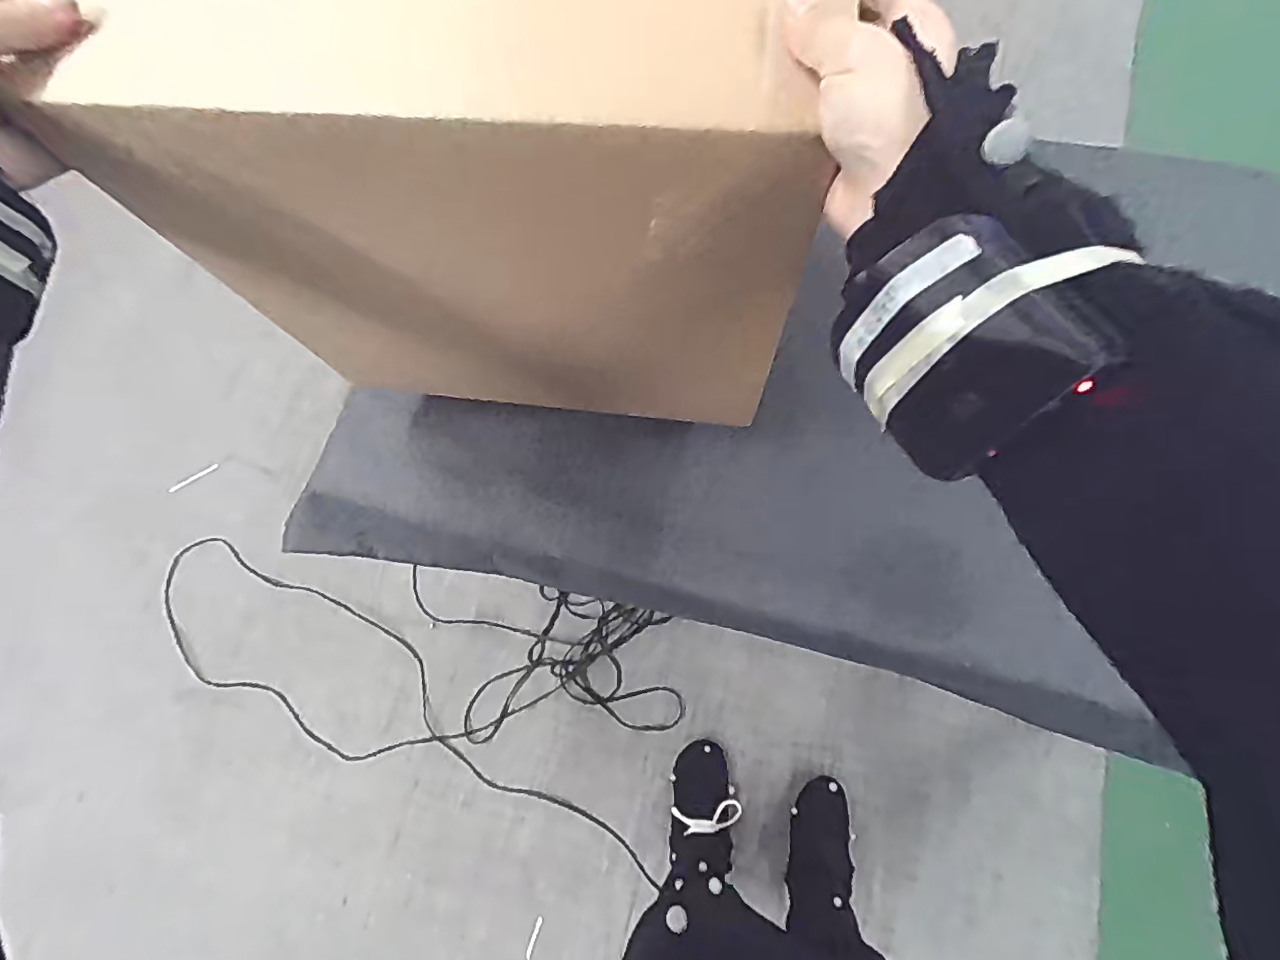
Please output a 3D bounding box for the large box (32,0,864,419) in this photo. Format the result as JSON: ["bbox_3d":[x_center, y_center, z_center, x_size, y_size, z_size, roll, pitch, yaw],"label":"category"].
[{"bbox_3d":[-0.078,-0.261,0.433,0.408,0.320,0.320,6,74,5],"label":"large box"}]
